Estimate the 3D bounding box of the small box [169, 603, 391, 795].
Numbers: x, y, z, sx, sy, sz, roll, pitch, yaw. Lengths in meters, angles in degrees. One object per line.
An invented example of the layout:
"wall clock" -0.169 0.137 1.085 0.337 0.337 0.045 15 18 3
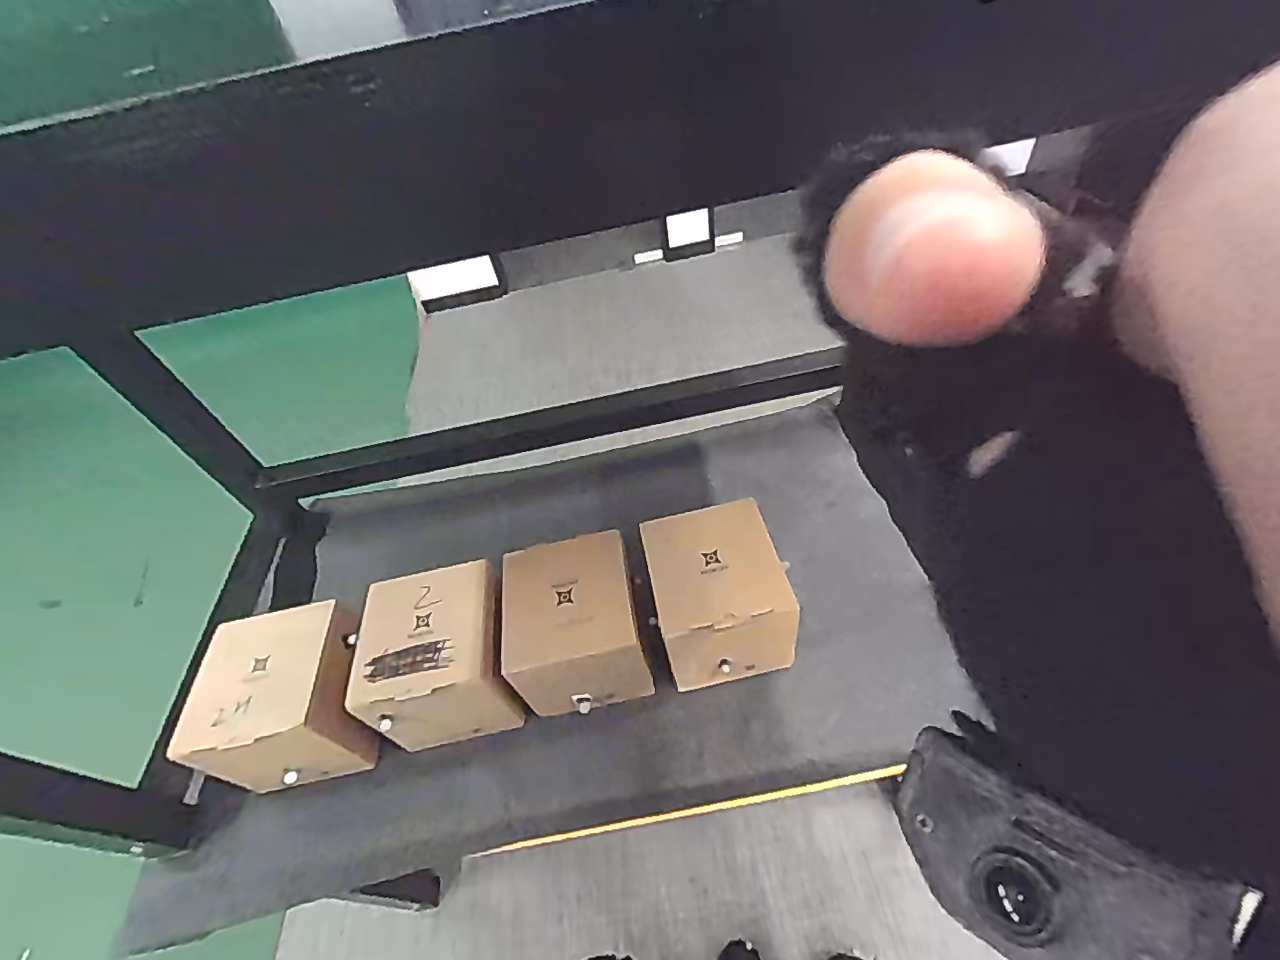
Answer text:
"small box" -0.463 0.298 0.735 0.168 0.176 0.179 -13 47 0
